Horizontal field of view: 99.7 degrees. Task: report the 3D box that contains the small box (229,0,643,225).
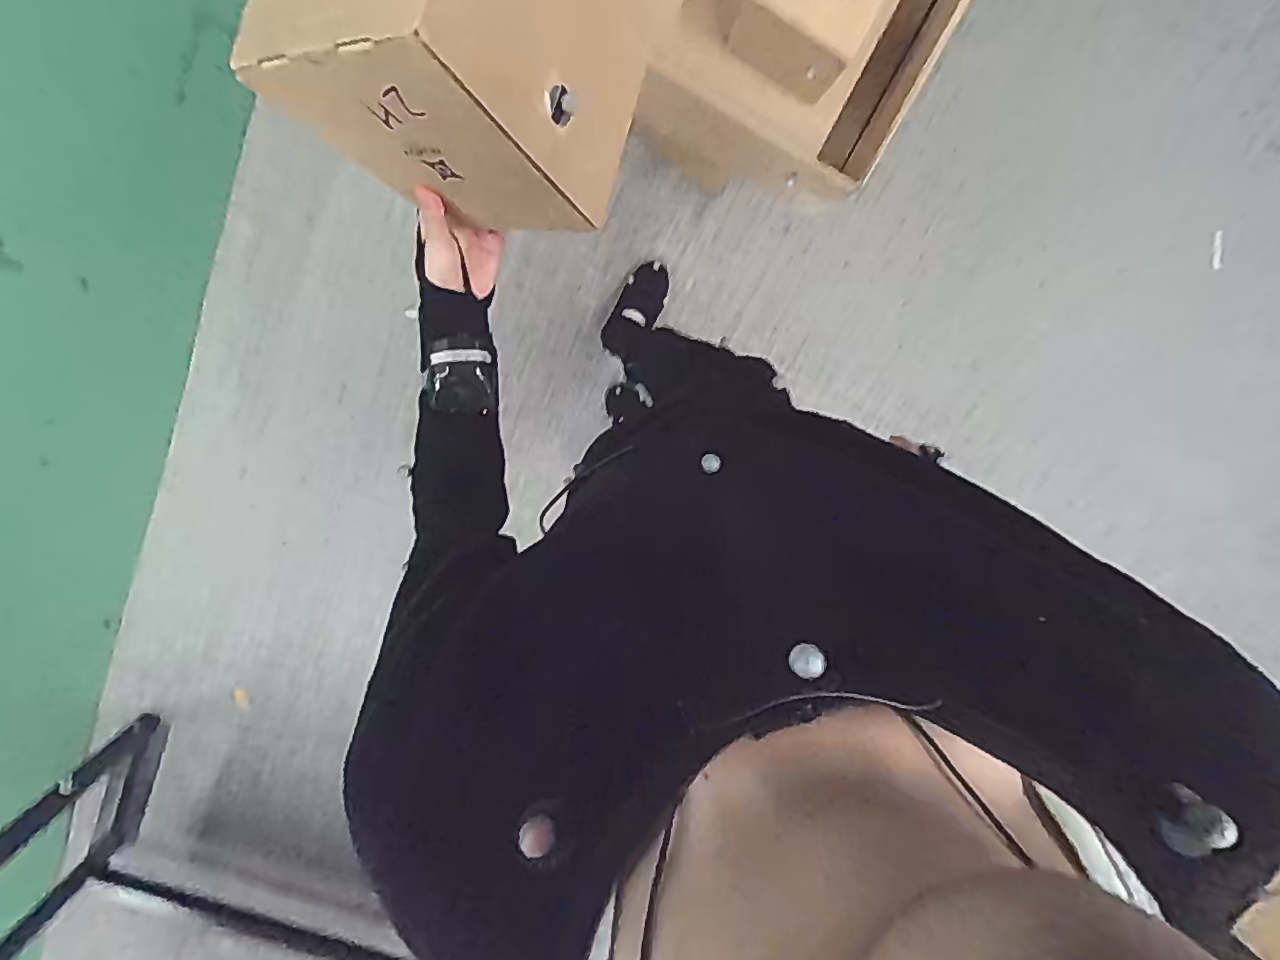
[{"bbox_3d":[-0.116,-0.300,0.364,0.168,0.179,0.176,13,86,26],"label":"small box"}]
